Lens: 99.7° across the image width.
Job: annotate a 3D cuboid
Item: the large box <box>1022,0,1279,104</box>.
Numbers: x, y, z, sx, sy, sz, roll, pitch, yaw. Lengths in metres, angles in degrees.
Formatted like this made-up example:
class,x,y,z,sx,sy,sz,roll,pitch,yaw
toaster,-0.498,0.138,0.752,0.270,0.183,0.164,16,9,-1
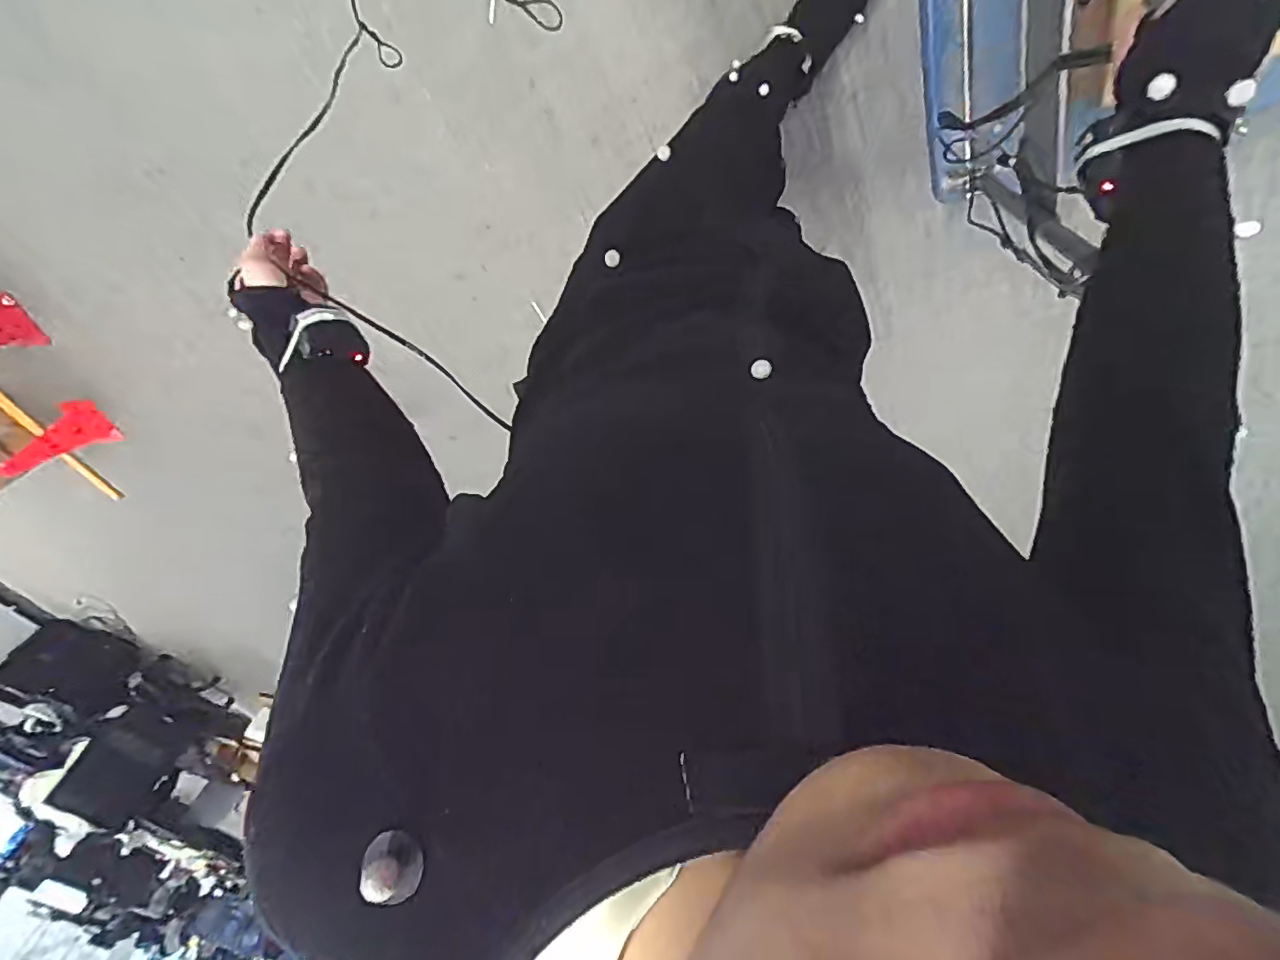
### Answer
class,x,y,z,sx,sy,sz,roll,pitch,yaw
large box,0.784,-0.749,0.699,0.408,0.320,0.320,-9,127,19
